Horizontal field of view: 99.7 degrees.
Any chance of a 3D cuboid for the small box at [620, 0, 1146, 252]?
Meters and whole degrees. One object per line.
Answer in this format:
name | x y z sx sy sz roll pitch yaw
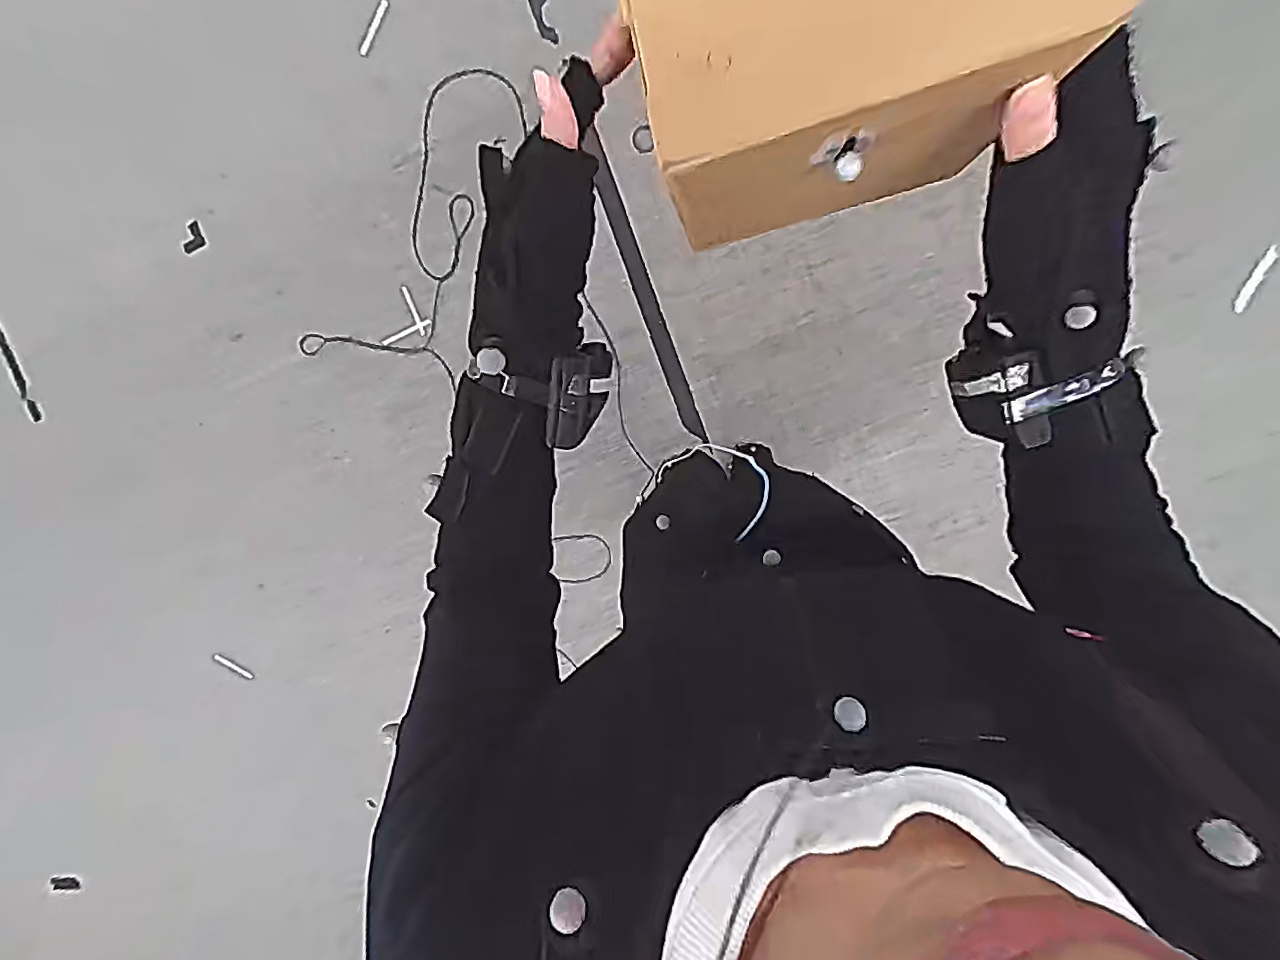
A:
small box | 0.088 -0.232 0.269 0.179 0.176 0.168 -12 99 12
